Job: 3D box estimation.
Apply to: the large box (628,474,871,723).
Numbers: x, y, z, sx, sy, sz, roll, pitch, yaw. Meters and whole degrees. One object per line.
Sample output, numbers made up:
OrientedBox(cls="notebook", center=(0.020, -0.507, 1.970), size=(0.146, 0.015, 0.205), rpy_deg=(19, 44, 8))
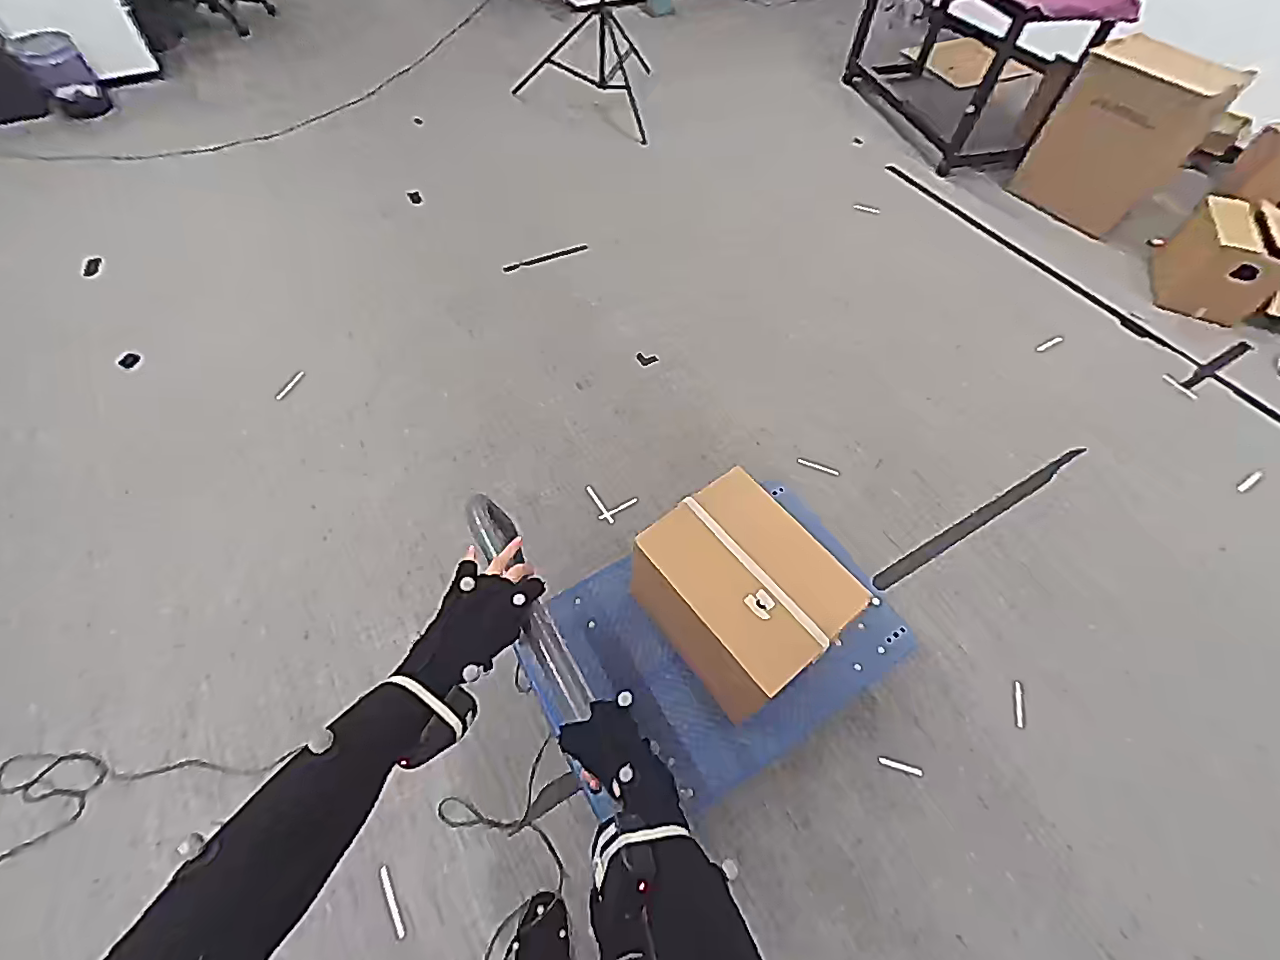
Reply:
OrientedBox(cls="large box", center=(0.219, 0.270, 1.238), size=(0.320, 0.320, 0.408), rpy_deg=(-34, 66, -22))
